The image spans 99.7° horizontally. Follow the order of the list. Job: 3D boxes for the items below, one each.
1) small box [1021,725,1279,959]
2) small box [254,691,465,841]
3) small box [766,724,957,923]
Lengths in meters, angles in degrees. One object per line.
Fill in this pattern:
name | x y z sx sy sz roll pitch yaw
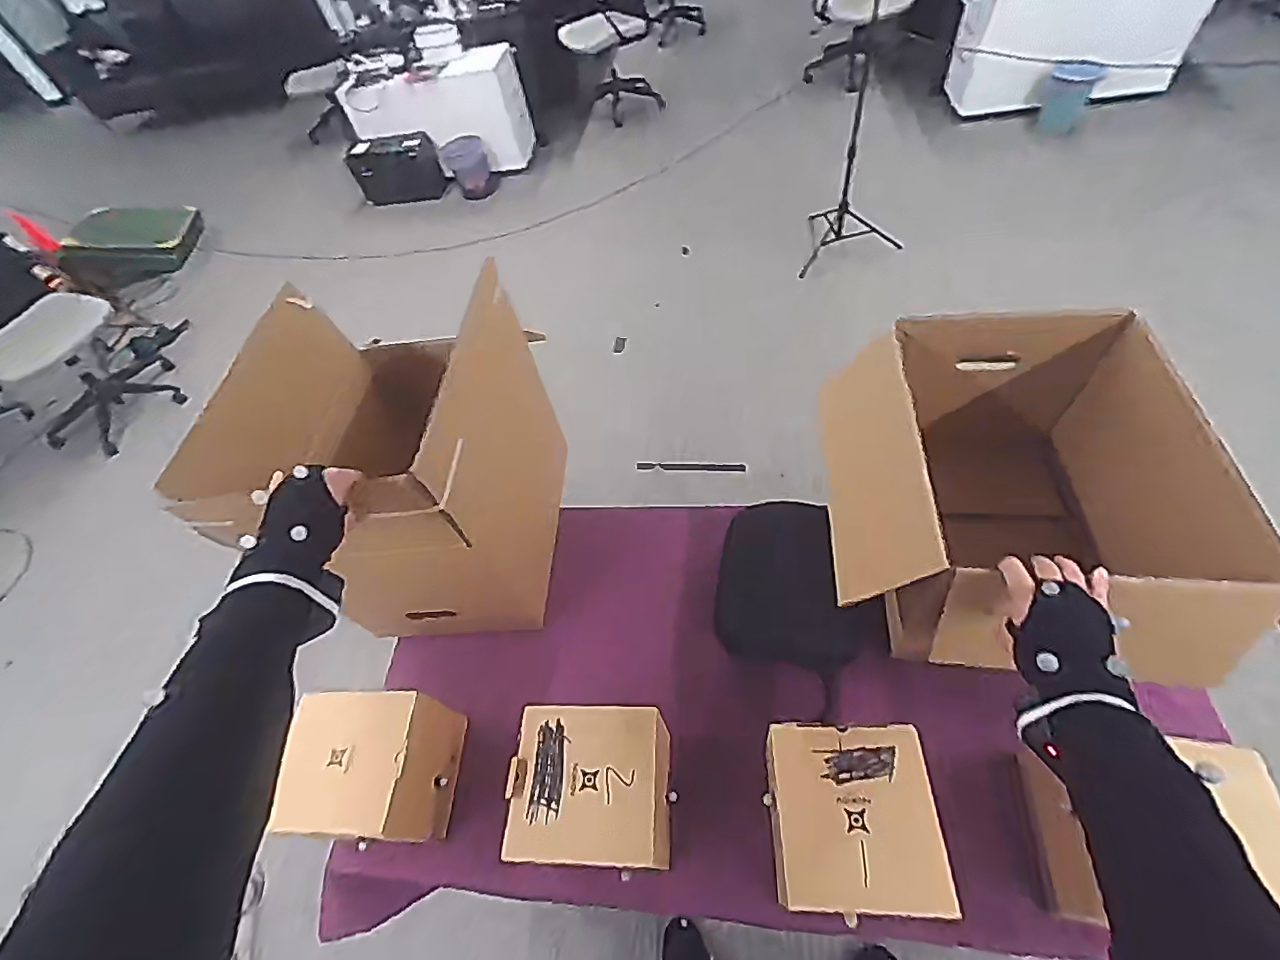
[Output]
small box | 0.552 0.391 0.591 0.168 0.176 0.179 3 55 14
small box | -0.375 0.405 0.761 0.179 0.176 0.168 -3 54 7
small box | 0.242 0.403 0.643 0.168 0.176 0.179 -3 55 9
